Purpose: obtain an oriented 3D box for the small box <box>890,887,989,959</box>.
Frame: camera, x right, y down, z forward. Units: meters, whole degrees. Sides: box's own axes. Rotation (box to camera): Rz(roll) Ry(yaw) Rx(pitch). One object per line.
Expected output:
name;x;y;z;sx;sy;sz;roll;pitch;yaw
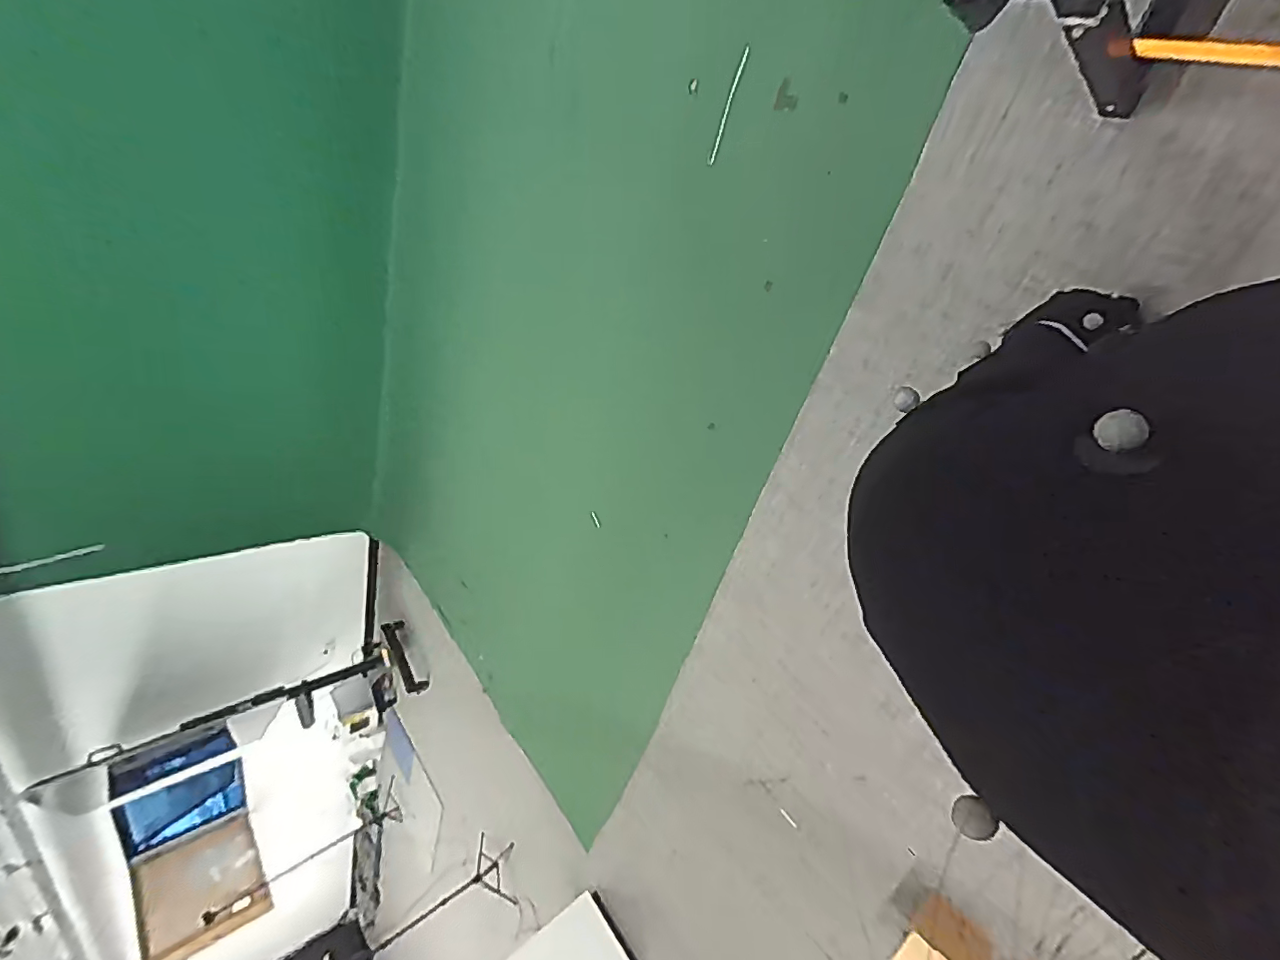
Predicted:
small box;0.831;1.292;1.495;0.168;0.176;0.179;32;119;37
